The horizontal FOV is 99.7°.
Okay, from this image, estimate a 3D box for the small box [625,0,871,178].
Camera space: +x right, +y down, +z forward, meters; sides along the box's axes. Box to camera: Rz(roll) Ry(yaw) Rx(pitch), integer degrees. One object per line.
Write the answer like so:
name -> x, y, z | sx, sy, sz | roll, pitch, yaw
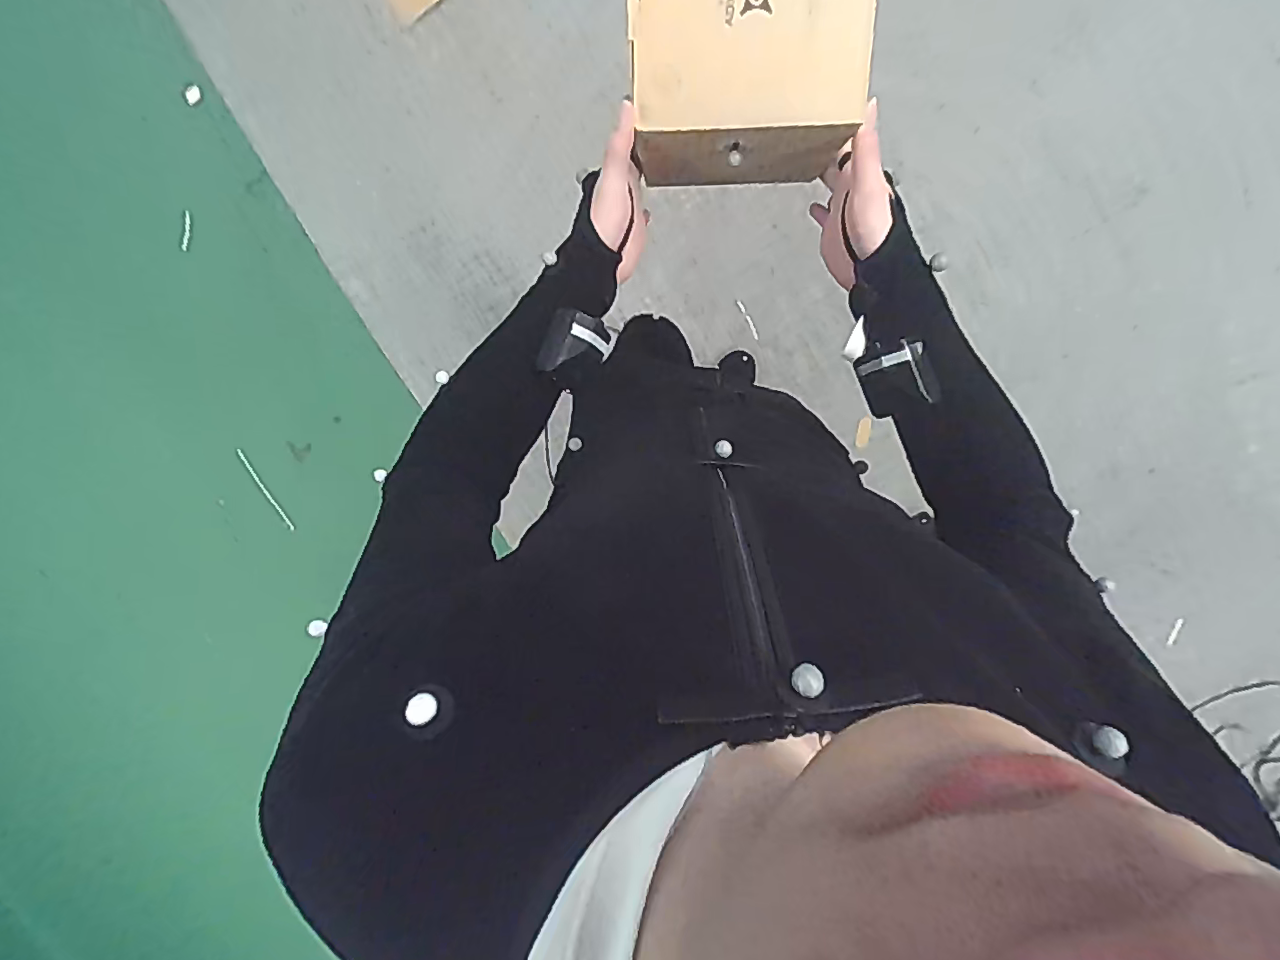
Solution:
small box -> 0.083, -0.368, 0.459 | 0.179, 0.176, 0.168 | 1, 106, 4
